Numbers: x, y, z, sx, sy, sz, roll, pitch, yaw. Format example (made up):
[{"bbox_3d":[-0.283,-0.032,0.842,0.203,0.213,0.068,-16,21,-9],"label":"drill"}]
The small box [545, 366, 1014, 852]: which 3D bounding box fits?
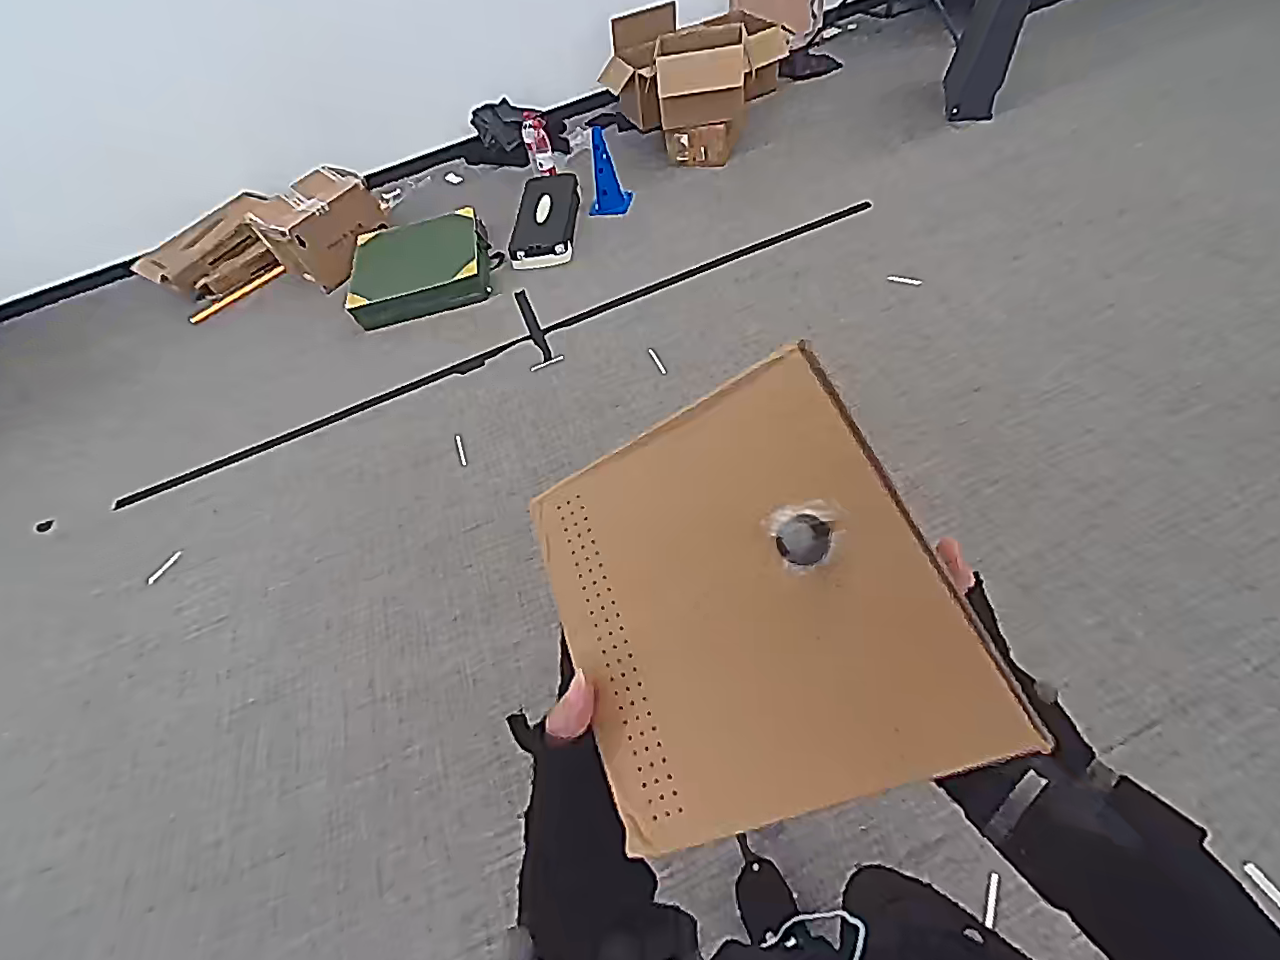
[{"bbox_3d":[0.069,0.074,0.313,0.176,0.168,0.179,-30,65,20],"label":"small box"}]
